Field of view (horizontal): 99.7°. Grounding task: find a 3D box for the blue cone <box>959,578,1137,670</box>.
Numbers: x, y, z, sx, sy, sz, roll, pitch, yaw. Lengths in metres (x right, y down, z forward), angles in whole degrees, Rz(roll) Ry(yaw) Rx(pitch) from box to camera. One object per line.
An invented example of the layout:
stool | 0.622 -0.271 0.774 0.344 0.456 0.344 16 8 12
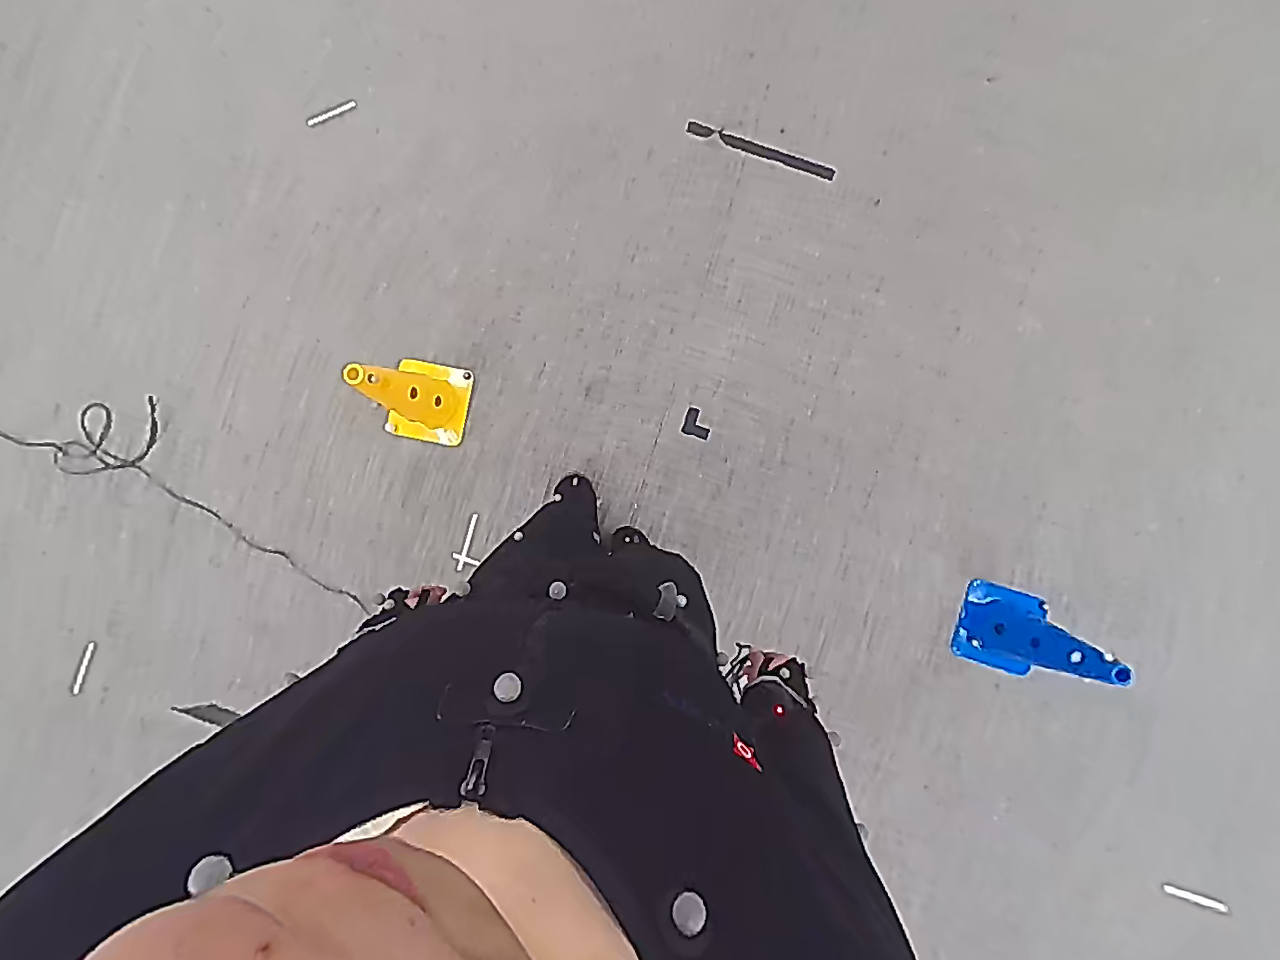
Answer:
blue cone | 0.887 0.345 1.166 0.193 0.380 0.192 19 88 2
